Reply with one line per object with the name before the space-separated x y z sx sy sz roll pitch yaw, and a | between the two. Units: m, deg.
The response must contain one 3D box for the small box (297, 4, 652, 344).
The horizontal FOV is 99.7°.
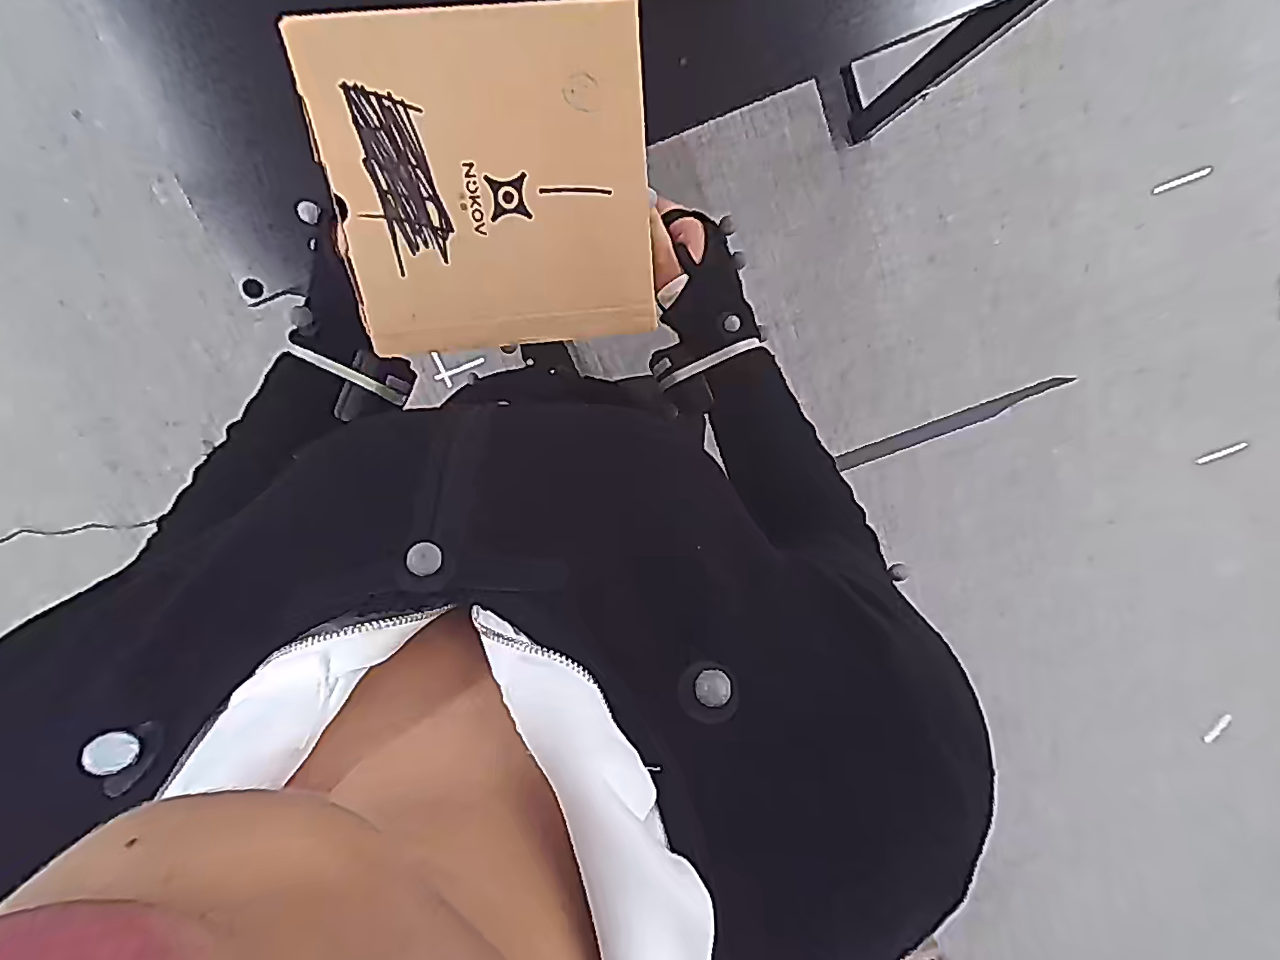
small box | -0.089 -0.199 0.380 0.179 0.176 0.168 -6 117 -3
